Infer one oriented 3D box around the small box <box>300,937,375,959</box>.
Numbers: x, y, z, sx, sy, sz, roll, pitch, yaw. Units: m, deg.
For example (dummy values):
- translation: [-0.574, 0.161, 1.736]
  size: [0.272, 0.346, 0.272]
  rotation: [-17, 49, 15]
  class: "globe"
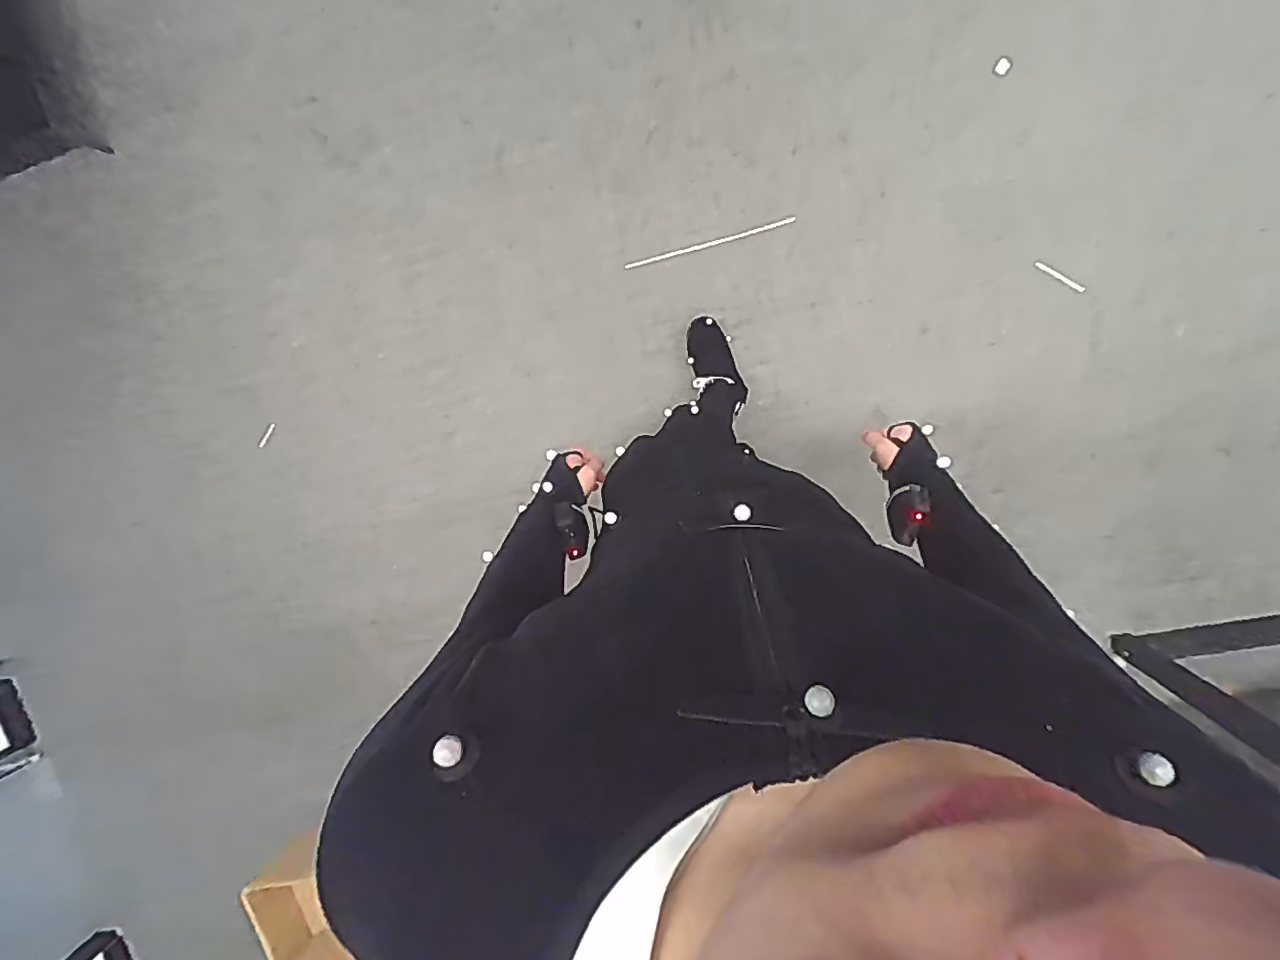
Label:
- translation: [-0.749, 1.242, 1.294]
  size: [0.179, 0.176, 0.168]
  rotation: [-14, 97, 13]
  class: "small box"
